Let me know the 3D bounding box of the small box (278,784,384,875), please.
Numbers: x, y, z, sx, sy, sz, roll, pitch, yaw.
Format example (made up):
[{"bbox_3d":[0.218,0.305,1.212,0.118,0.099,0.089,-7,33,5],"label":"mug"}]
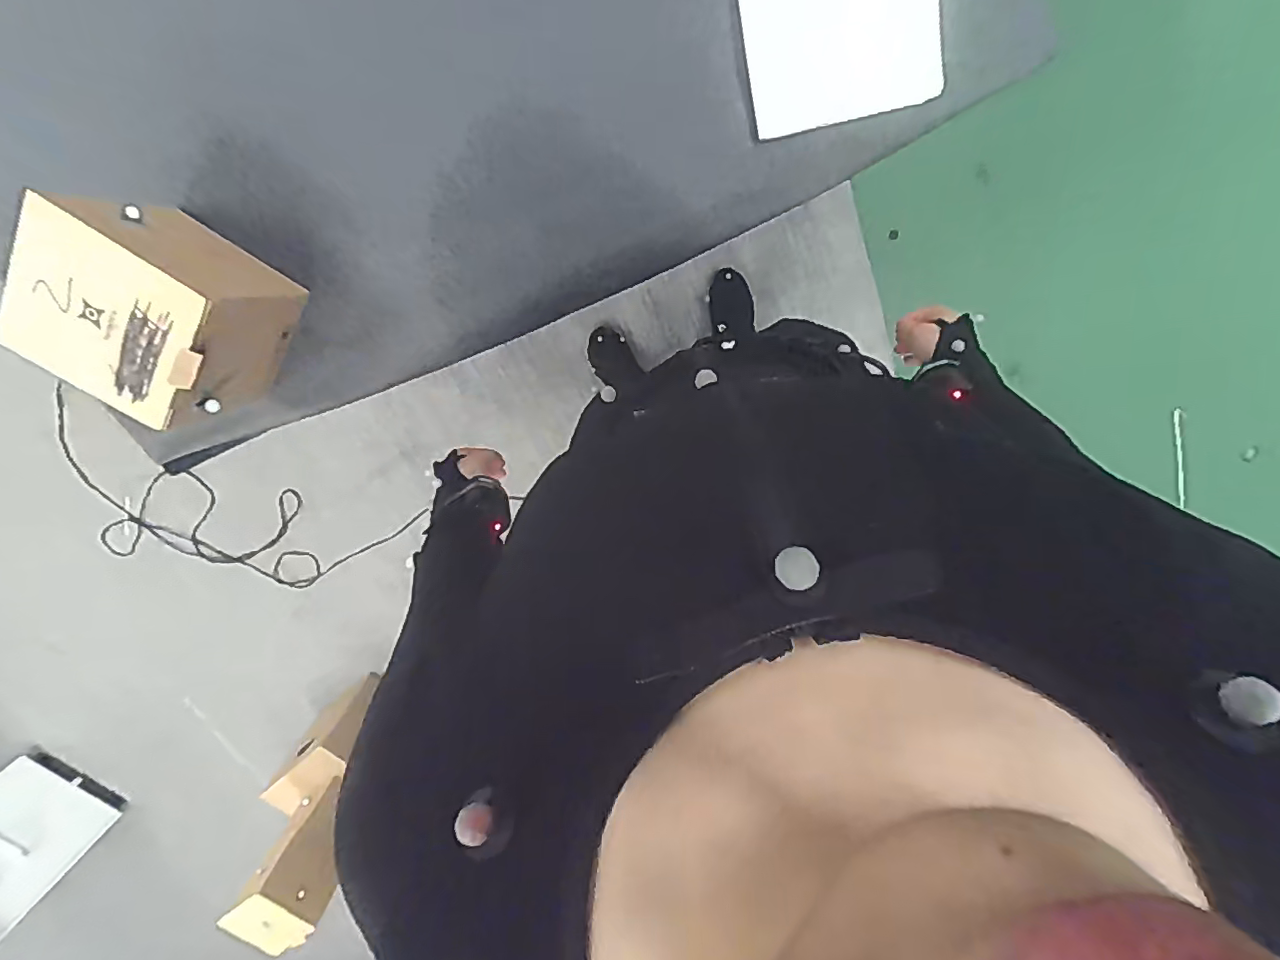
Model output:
[{"bbox_3d":[-0.869,1.010,1.531,0.168,0.176,0.179,-40,104,14],"label":"small box"}]

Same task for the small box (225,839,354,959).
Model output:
[{"bbox_3d":[-0.880,1.057,1.376,0.168,0.176,0.179,-39,105,13],"label":"small box"}]
